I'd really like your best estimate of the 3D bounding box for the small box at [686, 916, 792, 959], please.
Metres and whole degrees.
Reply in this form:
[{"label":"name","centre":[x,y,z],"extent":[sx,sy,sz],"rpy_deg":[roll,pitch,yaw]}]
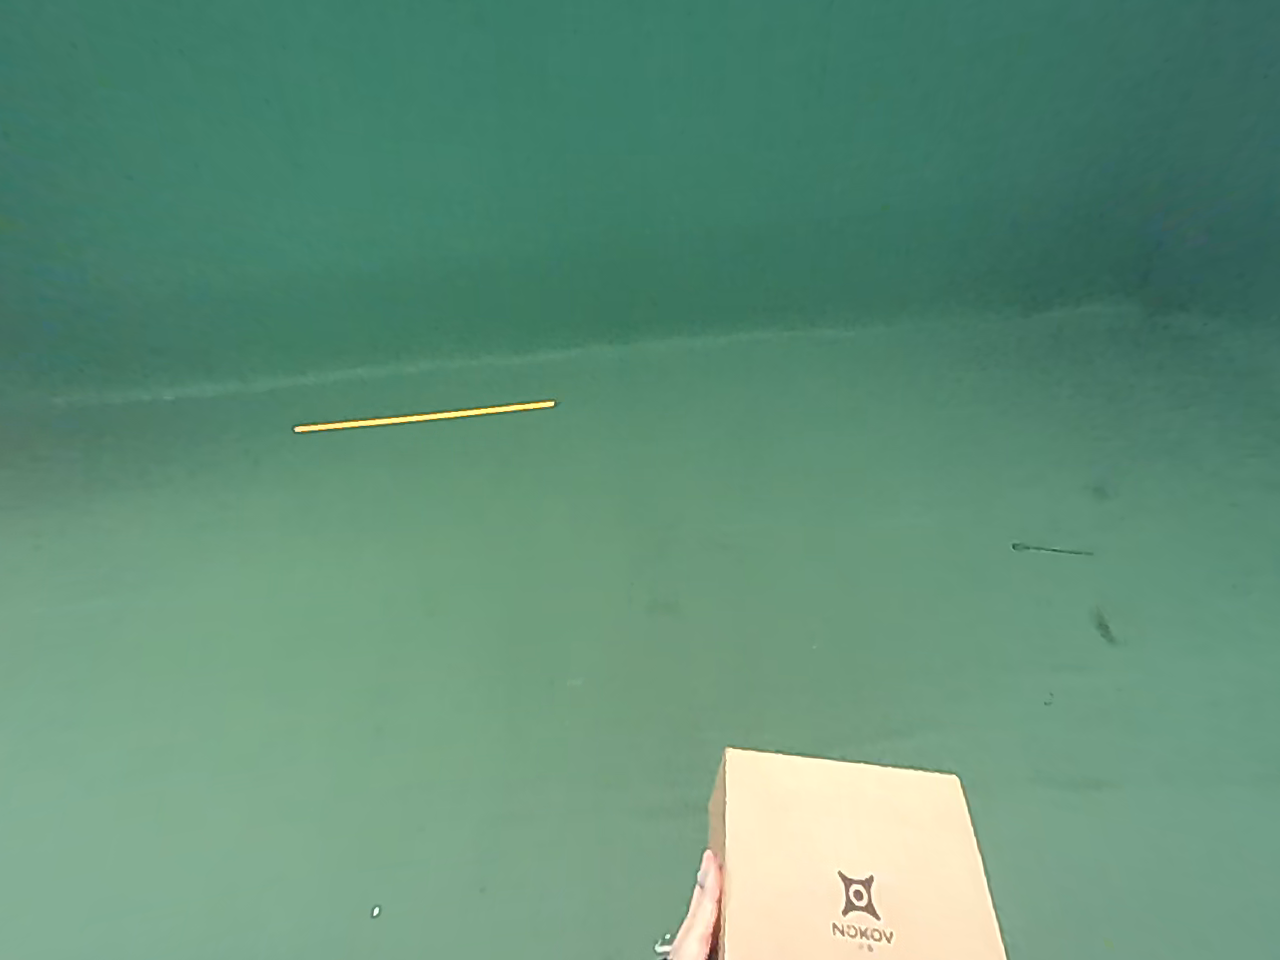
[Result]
[{"label":"small box","centre":[0.170,0.863,0.906],"extent":[0.168,0.176,0.179],"rpy_deg":[-4,44,-2]}]
